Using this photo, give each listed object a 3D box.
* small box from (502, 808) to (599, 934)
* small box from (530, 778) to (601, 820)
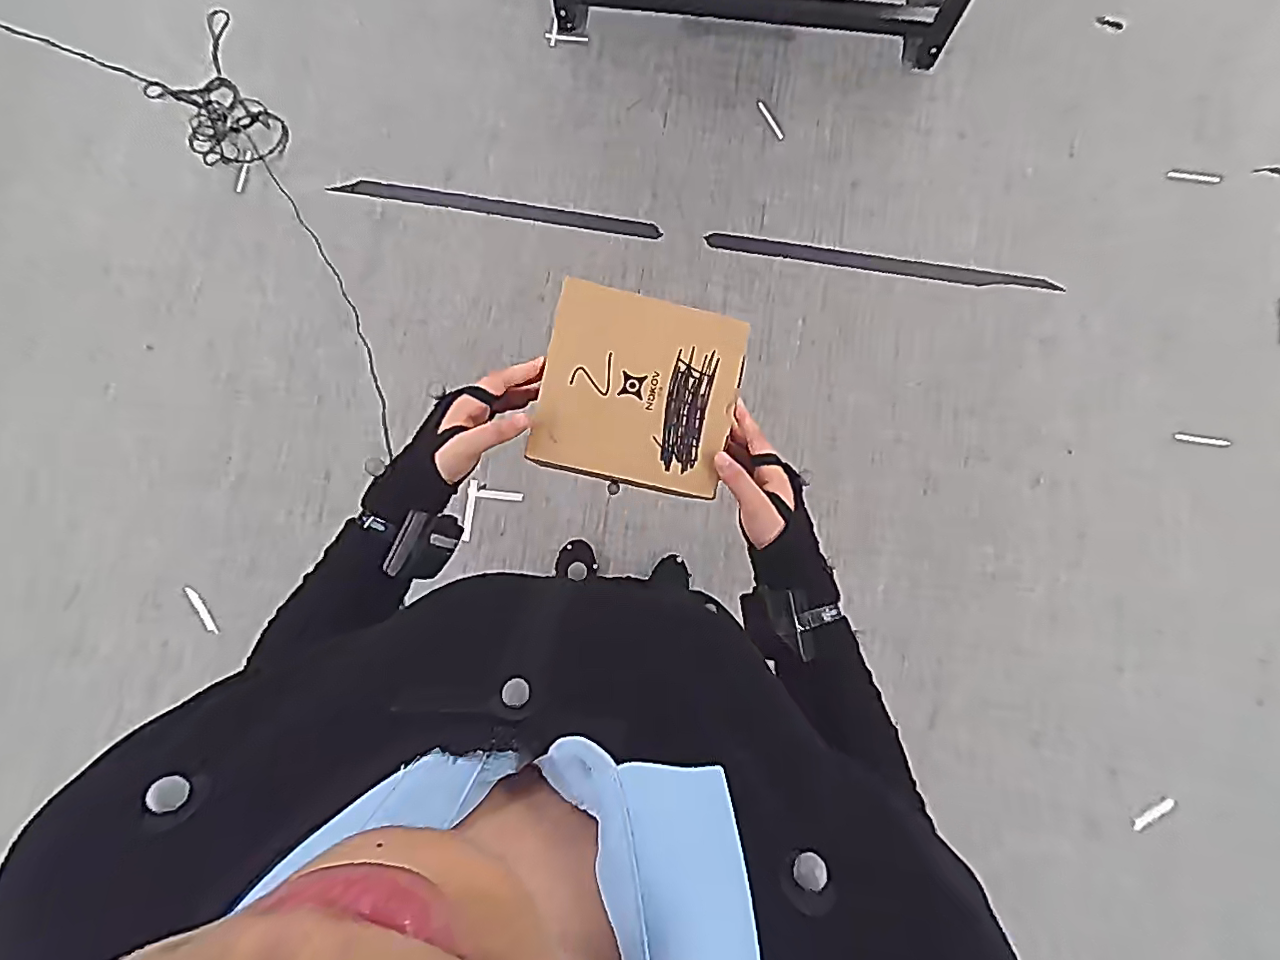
[{"bbox_3d":[-0.189,0.841,1.180,0.179,0.176,0.168,3,82,0],"label":"small box"},{"bbox_3d":[-0.194,0.871,1.341,0.168,0.176,0.179,11,83,2],"label":"small box"}]
